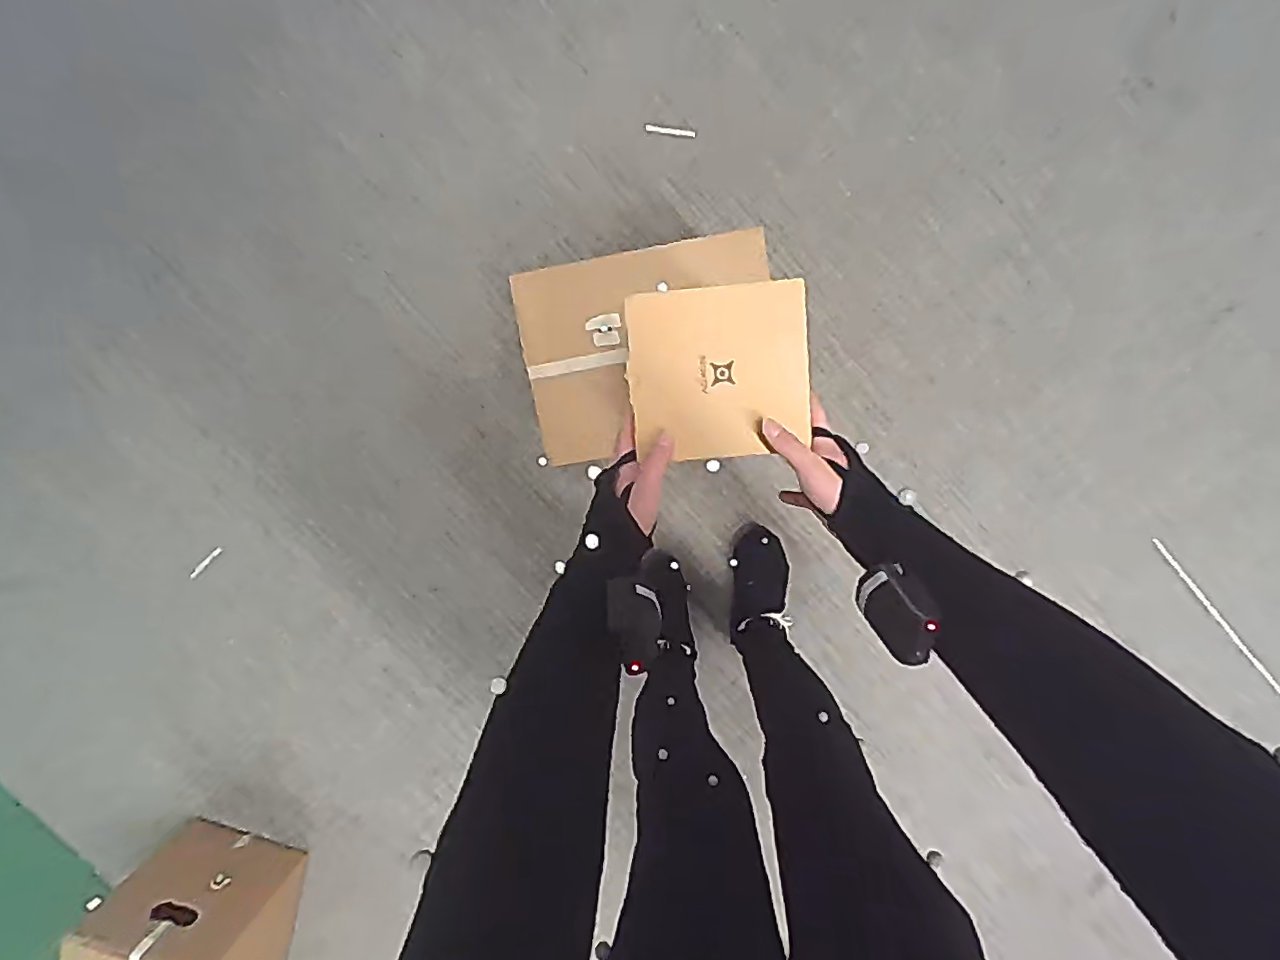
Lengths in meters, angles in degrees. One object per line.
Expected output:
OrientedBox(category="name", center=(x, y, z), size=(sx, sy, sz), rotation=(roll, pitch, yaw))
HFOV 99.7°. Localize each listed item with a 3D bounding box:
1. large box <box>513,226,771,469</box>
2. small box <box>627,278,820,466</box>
OrientedBox(category="large box", center=(0.031, -0.224, 0.999), size=(0.408, 0.320, 0.320), rotation=(-10, 97, 6))
OrientedBox(category="small box", center=(0.083, -0.109, 0.590), size=(0.179, 0.176, 0.168), rotation=(-5, 95, 3))
